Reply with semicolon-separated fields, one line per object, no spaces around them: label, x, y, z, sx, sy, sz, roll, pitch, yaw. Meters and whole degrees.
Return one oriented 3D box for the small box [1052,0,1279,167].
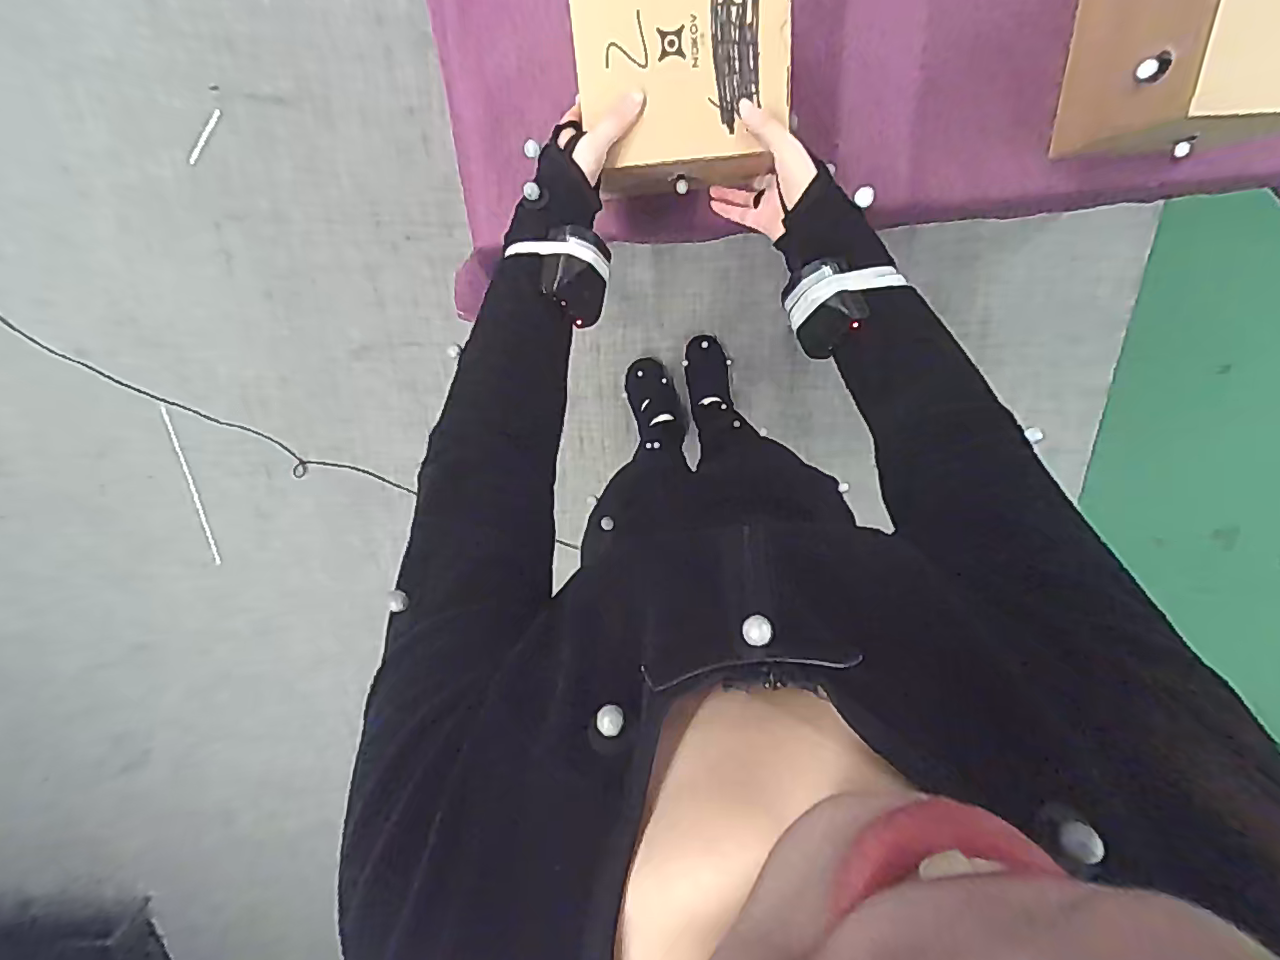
small box;0.529;-0.399;0.498;0.168;0.176;0.179;-1;109;1
